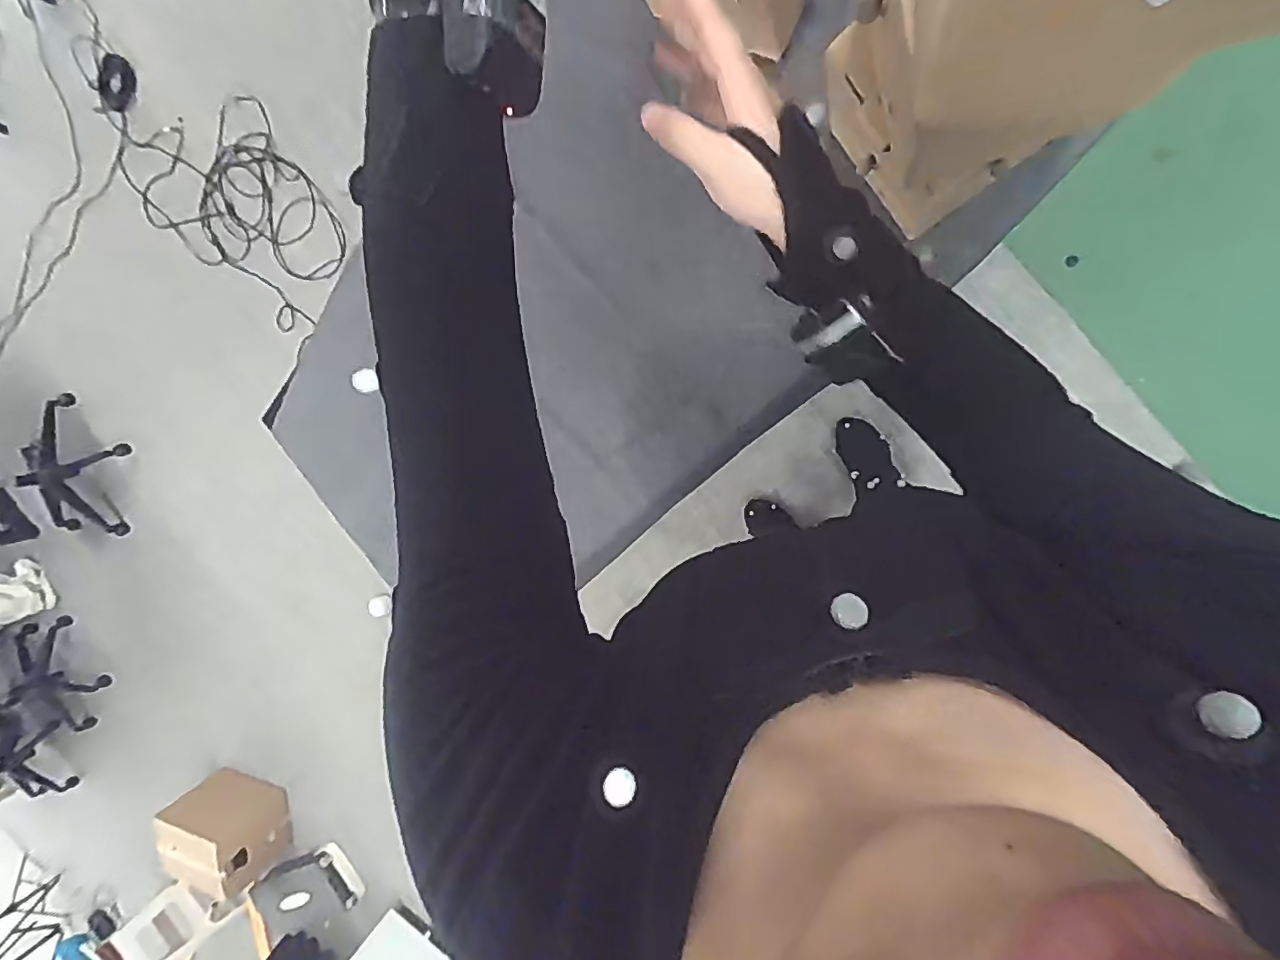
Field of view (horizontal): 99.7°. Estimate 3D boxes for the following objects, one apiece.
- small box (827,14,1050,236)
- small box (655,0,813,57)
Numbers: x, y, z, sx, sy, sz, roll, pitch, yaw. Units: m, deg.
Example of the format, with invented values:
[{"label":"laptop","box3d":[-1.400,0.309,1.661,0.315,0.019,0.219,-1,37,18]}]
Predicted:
[{"label":"small box","box3d":[0.303,-0.366,0.512,0.179,0.176,0.168,-35,86,24]},{"label":"small box","box3d":[0.100,-0.572,0.542,0.179,0.176,0.168,29,113,10]}]
